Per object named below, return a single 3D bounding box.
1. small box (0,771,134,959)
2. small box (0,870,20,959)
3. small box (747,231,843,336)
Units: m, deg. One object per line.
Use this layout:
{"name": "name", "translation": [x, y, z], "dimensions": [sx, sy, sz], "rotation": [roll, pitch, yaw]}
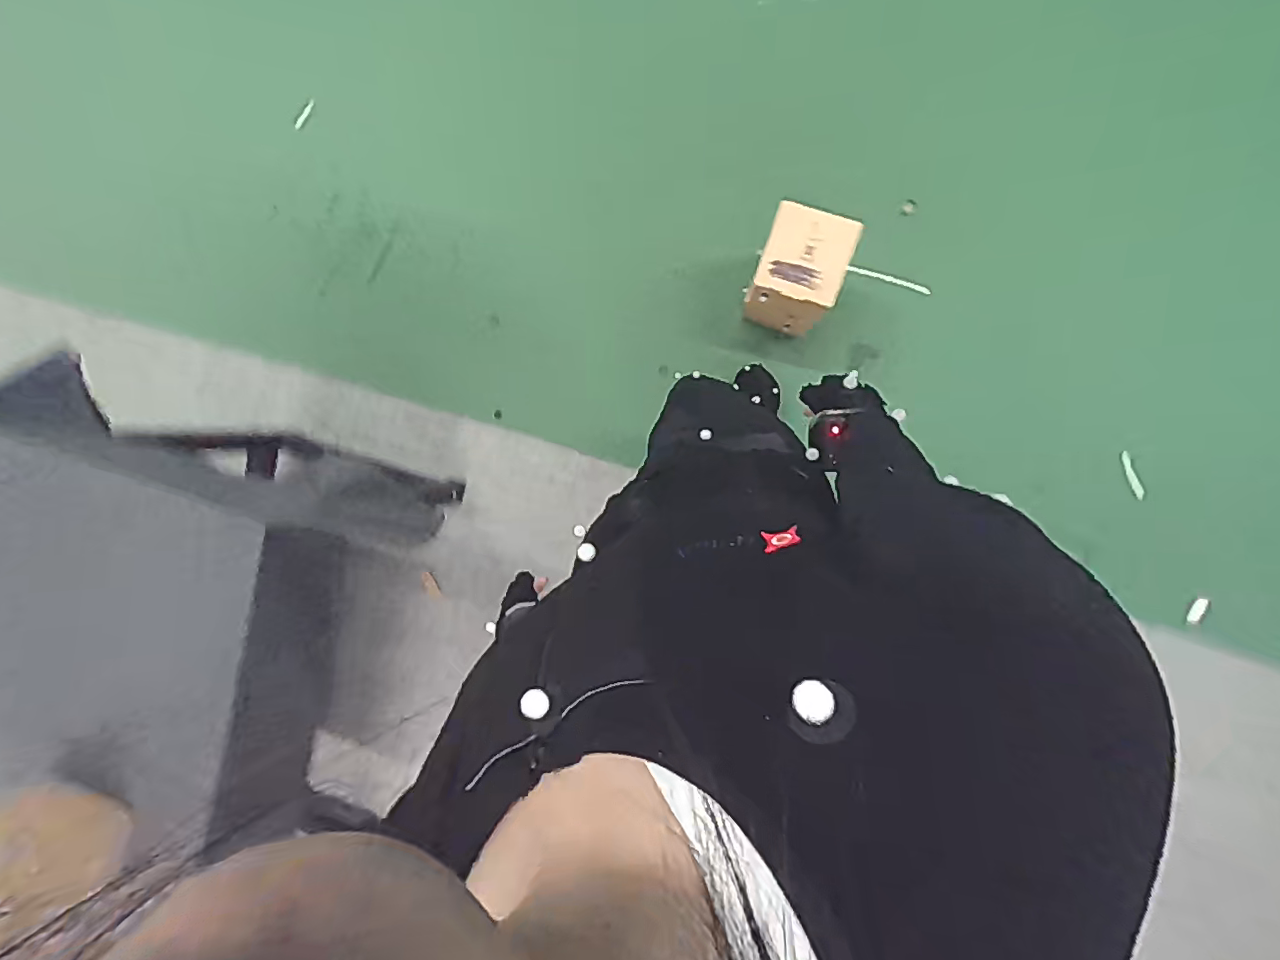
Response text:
{"name": "small box", "translation": [-0.969, 0.604, 0.861], "dimensions": [0.179, 0.176, 0.168], "rotation": [17, 97, 7]}
{"name": "small box", "translation": [-0.989, 0.616, 0.700], "dimensions": [0.179, 0.176, 0.168], "rotation": [17, 96, 6]}
{"name": "small box", "translation": [0.370, -0.471, 1.325], "dimensions": [0.168, 0.176, 0.179], "rotation": [23, 98, 5]}
